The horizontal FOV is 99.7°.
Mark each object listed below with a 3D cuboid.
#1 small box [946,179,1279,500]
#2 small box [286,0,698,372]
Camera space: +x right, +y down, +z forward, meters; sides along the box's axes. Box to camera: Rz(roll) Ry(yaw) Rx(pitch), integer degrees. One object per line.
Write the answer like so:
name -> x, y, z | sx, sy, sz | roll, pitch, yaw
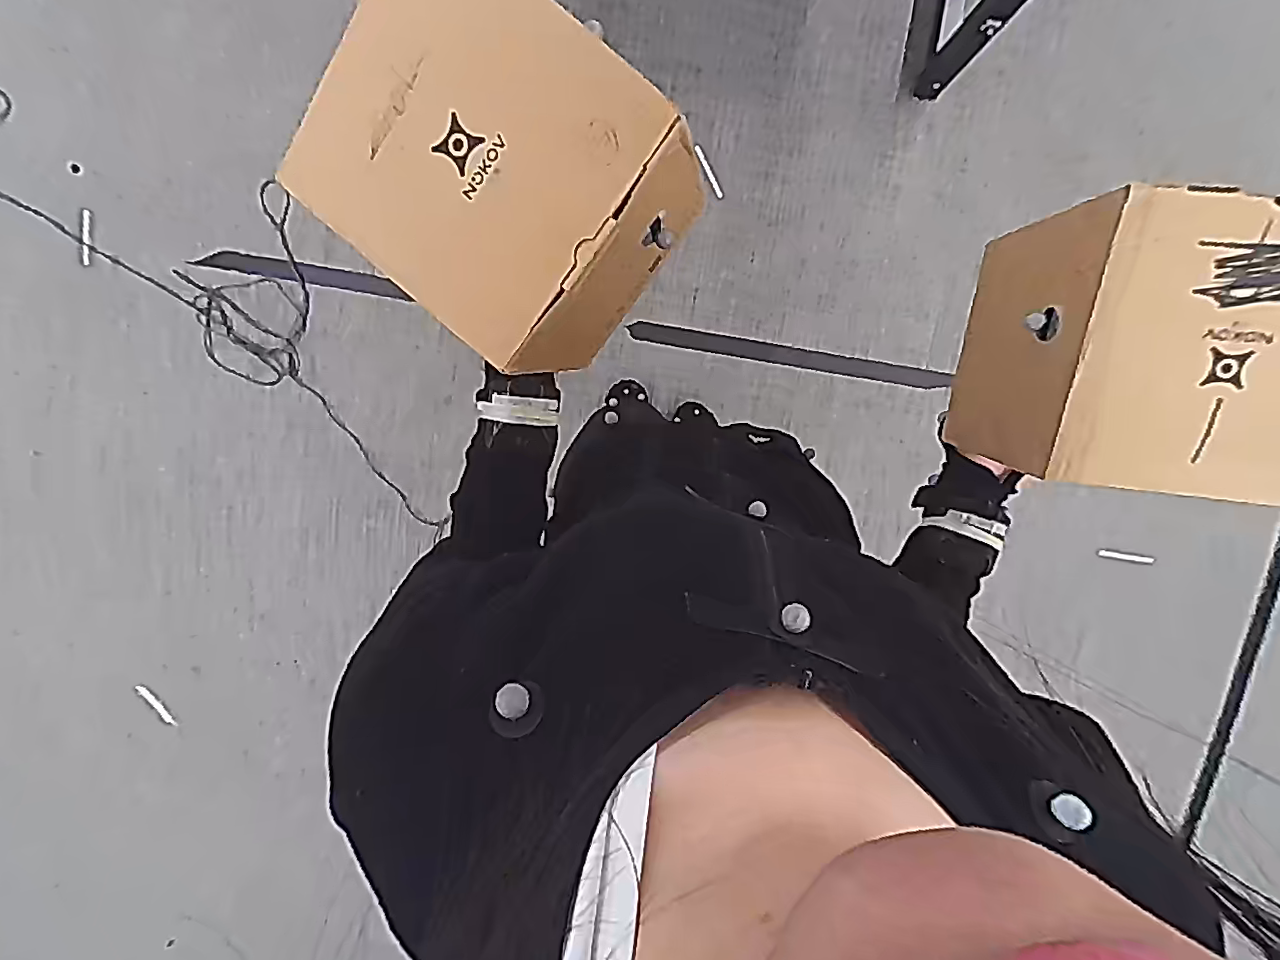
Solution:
small box -> 0.356, -0.096, 0.399 | 0.168, 0.176, 0.179 | 7, 104, 6
small box -> -0.076, -0.195, 0.368 | 0.179, 0.176, 0.168 | 40, 106, 0
